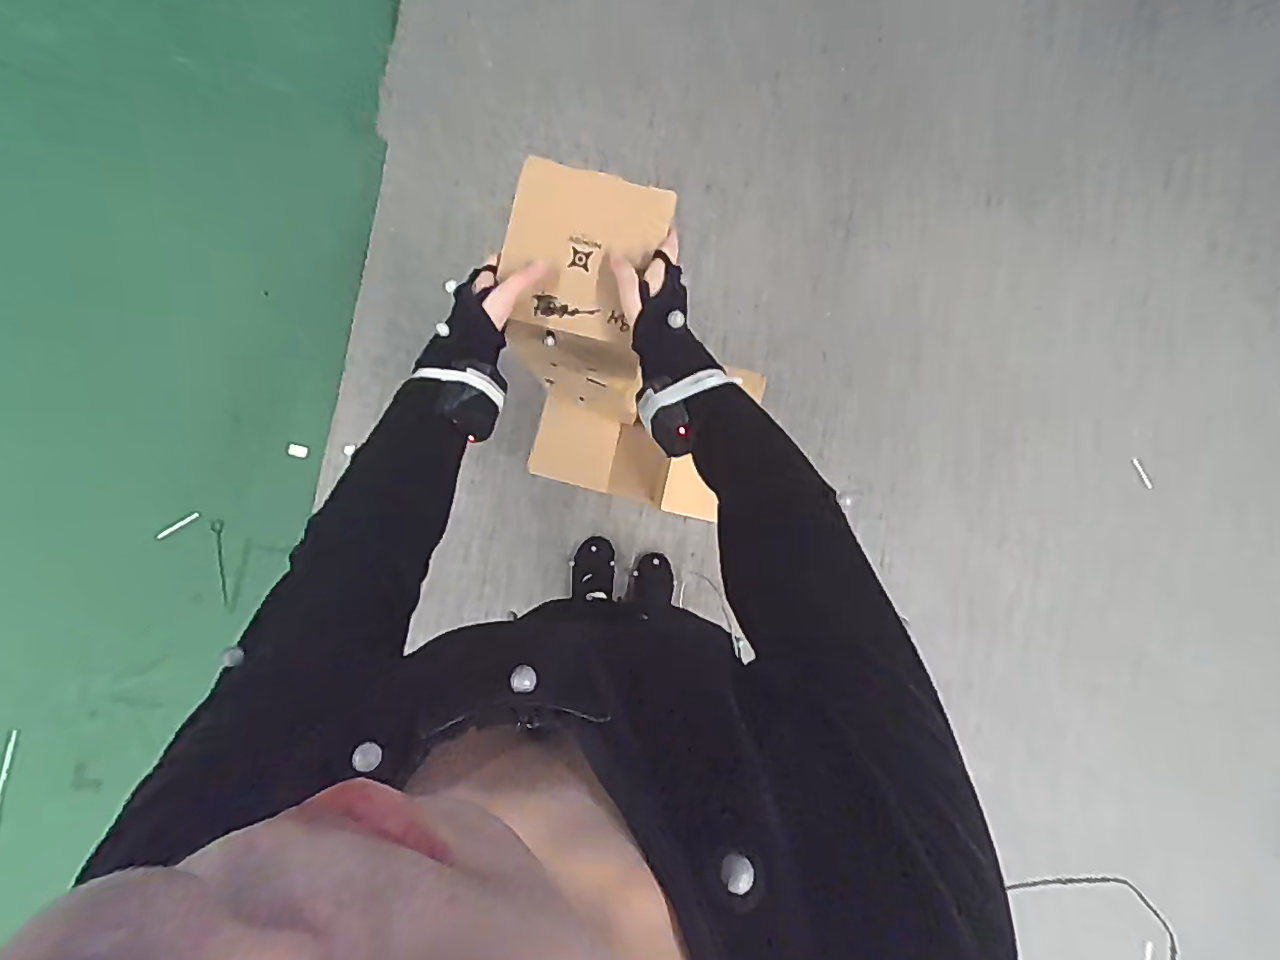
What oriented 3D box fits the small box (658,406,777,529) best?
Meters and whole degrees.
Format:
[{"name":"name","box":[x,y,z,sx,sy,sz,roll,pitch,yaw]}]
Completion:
[{"name":"small box","box":[0.130,-0.019,0.976,0.168,0.176,0.179,13,88,-2]}]

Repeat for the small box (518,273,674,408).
[{"name":"small box","box":[-0.060,-0.225,0.812,0.168,0.176,0.179,23,86,-1]}]

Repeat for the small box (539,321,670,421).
[{"name":"small box","box":[-0.062,-0.216,0.977,0.179,0.176,0.168,21,88,-2]}]

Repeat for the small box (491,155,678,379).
[{"name":"small box","box":[-0.060,-0.238,0.646,0.168,0.176,0.179,13,88,0]}]
